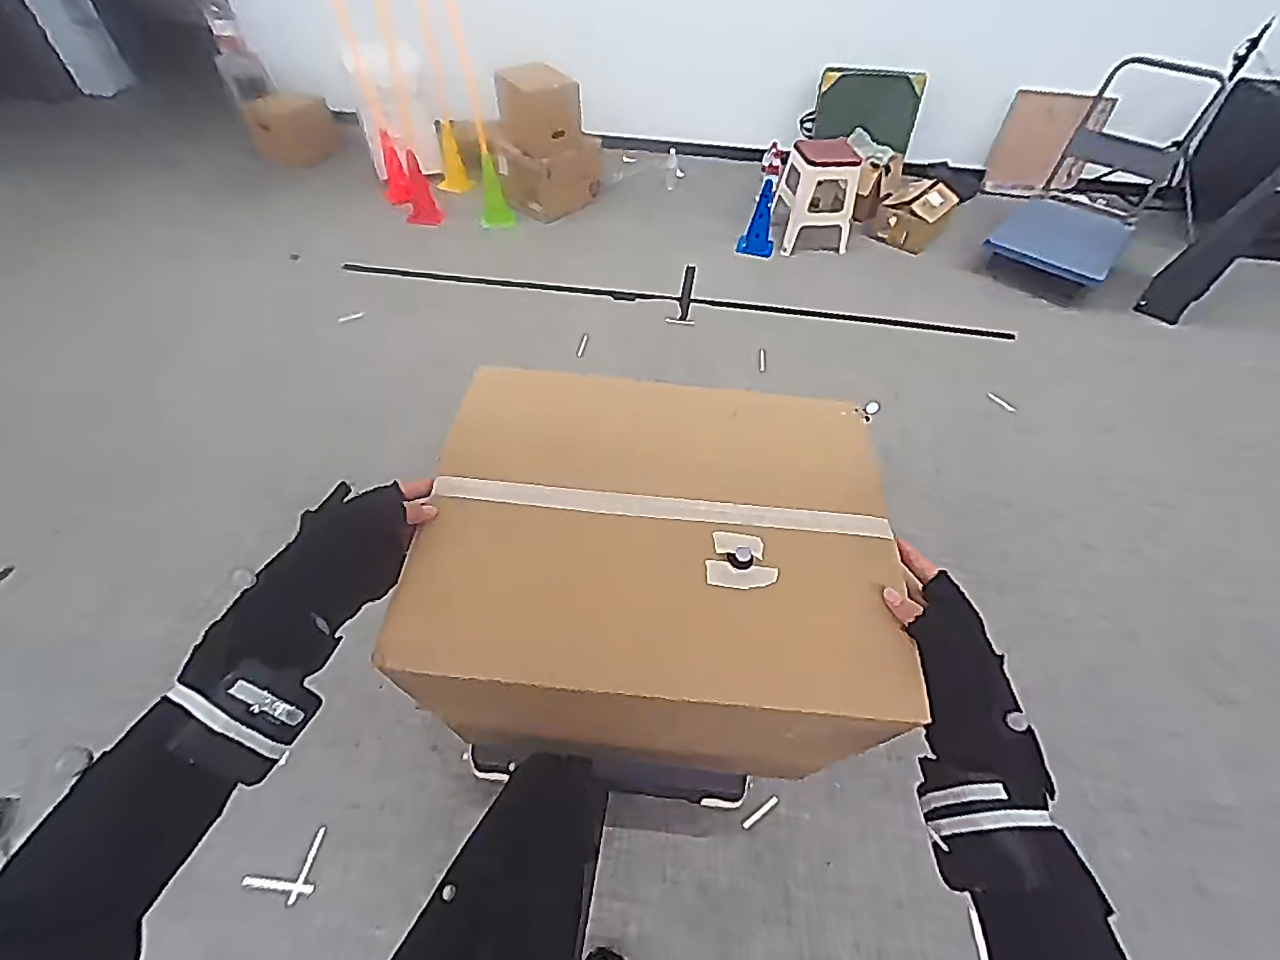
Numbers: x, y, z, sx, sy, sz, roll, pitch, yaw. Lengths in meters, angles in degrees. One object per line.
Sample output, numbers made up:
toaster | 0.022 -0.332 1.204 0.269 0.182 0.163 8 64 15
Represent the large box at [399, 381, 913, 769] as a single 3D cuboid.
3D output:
large box | 0.012 0.120 0.615 0.408 0.320 0.320 6 55 0
